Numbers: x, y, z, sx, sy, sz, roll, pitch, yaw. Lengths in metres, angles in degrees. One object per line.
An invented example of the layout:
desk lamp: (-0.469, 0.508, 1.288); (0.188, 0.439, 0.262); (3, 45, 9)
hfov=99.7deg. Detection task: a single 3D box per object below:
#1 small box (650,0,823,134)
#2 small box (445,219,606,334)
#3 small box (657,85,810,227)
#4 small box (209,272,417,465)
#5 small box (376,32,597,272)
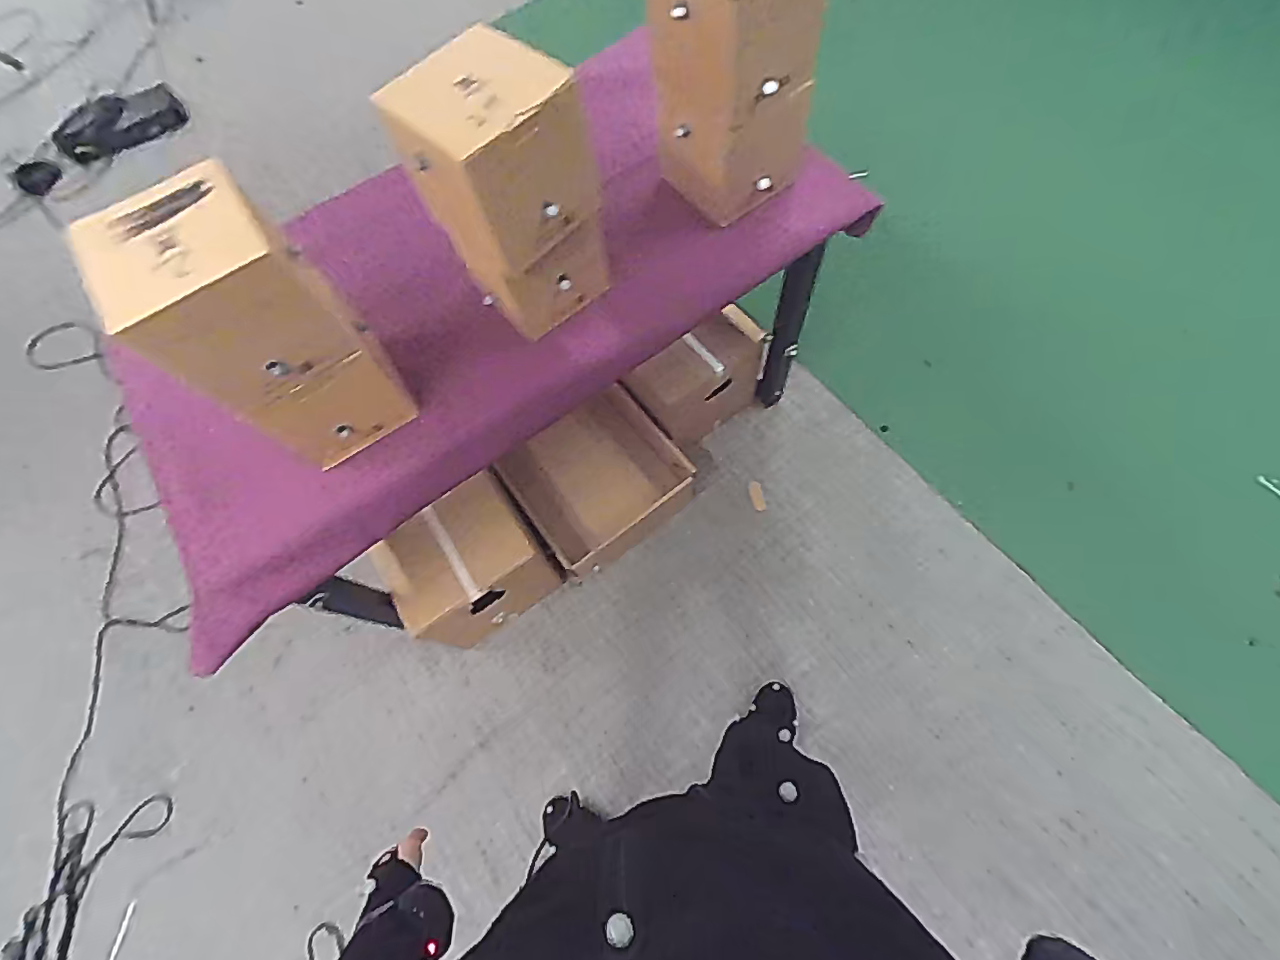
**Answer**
small box: (0.124, -0.622, 0.741); (0.168, 0.176, 0.179); (-38, 68, -9)
small box: (-0.171, -0.354, 0.835); (0.168, 0.176, 0.179); (-39, 69, -11)
small box: (0.145, -0.561, 0.890); (0.168, 0.176, 0.179); (-35, 68, -9)
small box: (-0.458, -0.152, 0.779); (0.168, 0.176, 0.179); (-34, 69, -9)
small box: (-0.177, -0.398, 0.674); (0.179, 0.176, 0.168); (41, 77, 19)
